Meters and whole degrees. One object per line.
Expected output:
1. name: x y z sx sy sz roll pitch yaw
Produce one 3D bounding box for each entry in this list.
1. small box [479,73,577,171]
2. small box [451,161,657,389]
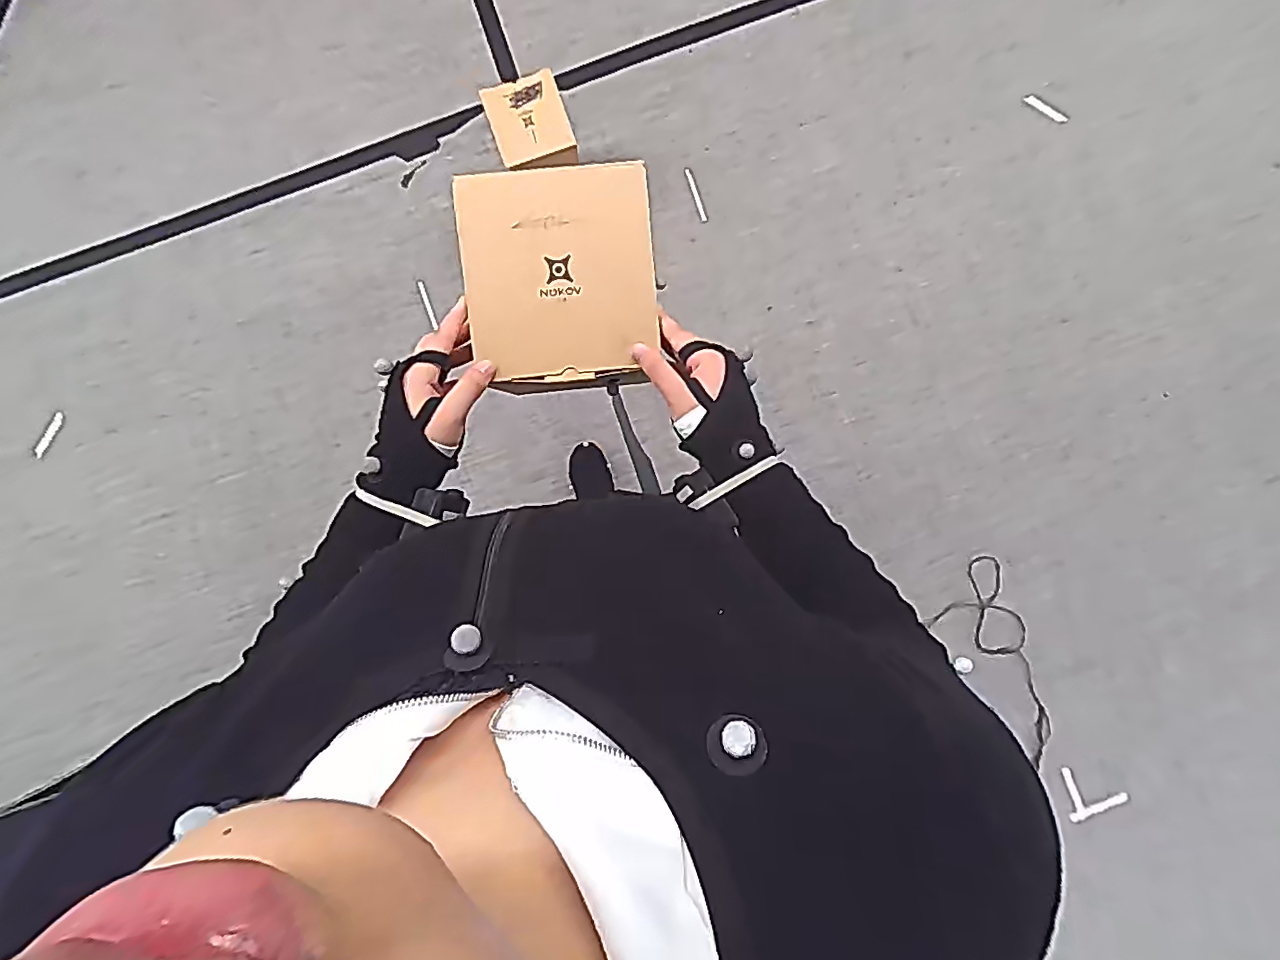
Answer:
1. small box: -0.248 -0.775 1.245 0.168 0.176 0.179 -19 92 -1
2. small box: -0.074 -0.187 0.545 0.168 0.176 0.179 -6 95 -2
